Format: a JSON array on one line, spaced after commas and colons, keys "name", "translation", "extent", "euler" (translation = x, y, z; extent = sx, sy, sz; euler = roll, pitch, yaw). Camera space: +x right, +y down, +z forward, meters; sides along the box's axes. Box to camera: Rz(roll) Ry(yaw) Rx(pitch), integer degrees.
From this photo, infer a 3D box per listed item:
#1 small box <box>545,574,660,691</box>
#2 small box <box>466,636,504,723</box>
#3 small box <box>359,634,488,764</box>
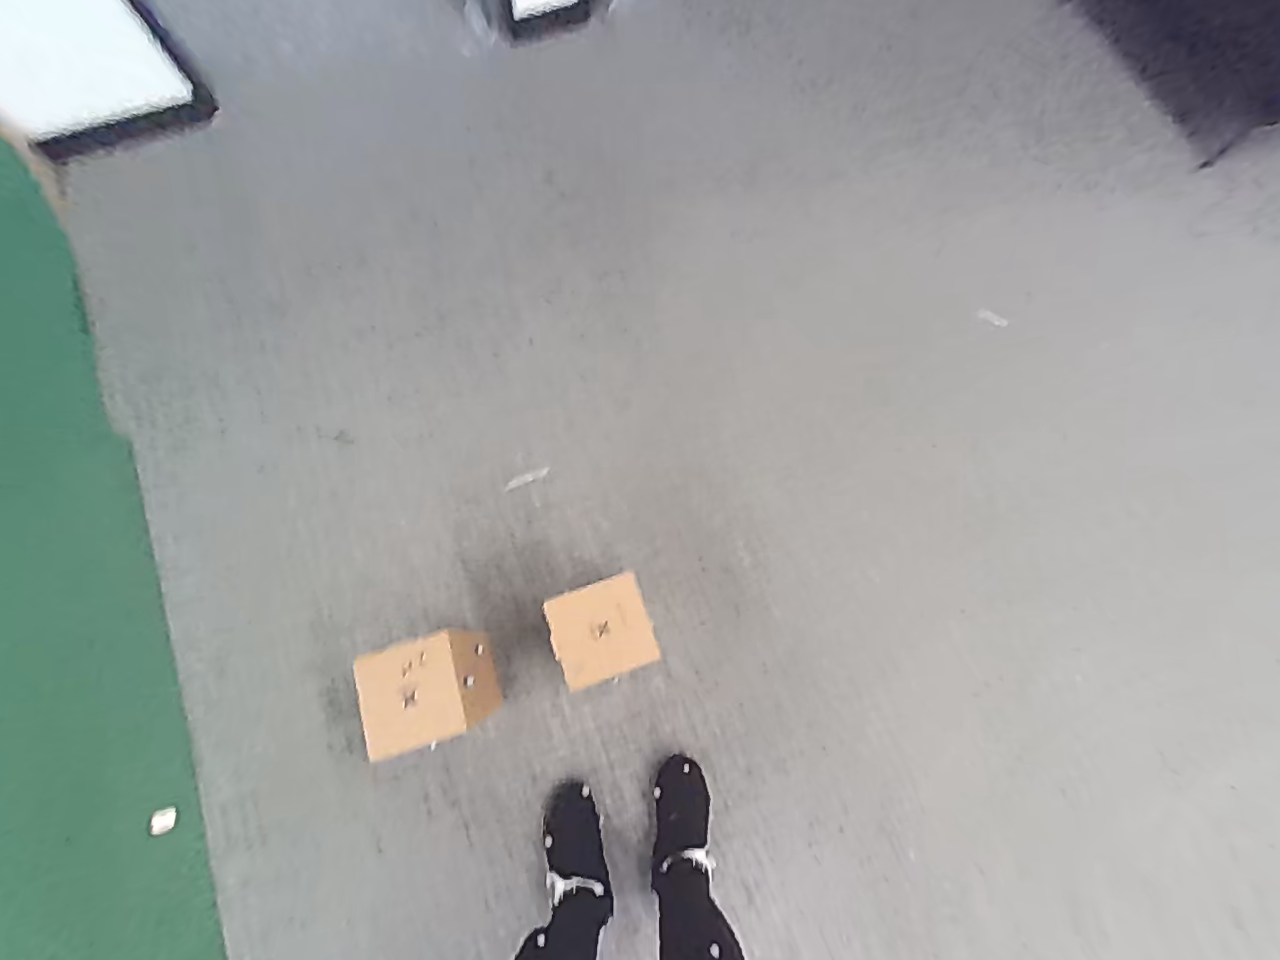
[{"name": "small box", "translation": [-0.071, 0.298, 1.054], "extent": [0.179, 0.176, 0.168], "euler": [-18, 75, -8]}, {"name": "small box", "translation": [-0.405, 0.448, 1.168], "extent": [0.168, 0.176, 0.179], "euler": [-18, 74, -8]}, {"name": "small box", "translation": [-0.395, 0.397, 1.010], "extent": [0.168, 0.176, 0.179], "euler": [-16, 74, -8]}]
